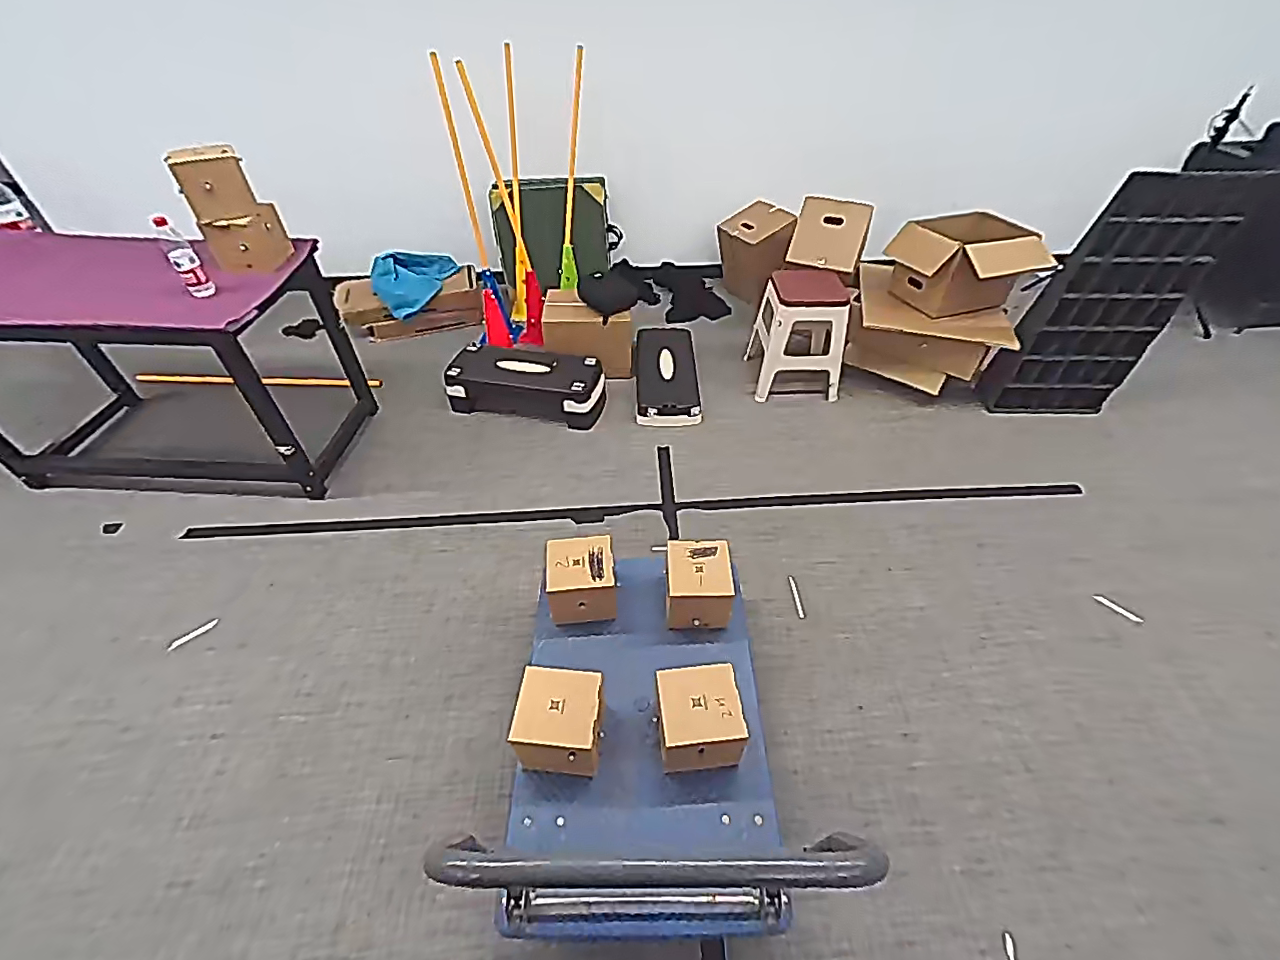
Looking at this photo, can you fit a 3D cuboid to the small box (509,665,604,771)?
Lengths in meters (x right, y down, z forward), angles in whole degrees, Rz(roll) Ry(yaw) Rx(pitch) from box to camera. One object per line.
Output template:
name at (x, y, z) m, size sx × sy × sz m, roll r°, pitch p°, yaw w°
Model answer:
small box at (-0.179, 0.539, 1.220) m, size 0.179 × 0.176 × 0.168 m, roll 5°, pitch 45°, yaw 3°

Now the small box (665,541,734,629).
small box at (0.155, 0.285, 1.472) m, size 0.168 × 0.176 × 0.179 m, roll 0°, pitch 47°, yaw 0°

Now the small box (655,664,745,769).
small box at (0.128, 0.537, 1.223) m, size 0.179 × 0.176 × 0.168 m, roll -4°, pitch 46°, yaw -4°
